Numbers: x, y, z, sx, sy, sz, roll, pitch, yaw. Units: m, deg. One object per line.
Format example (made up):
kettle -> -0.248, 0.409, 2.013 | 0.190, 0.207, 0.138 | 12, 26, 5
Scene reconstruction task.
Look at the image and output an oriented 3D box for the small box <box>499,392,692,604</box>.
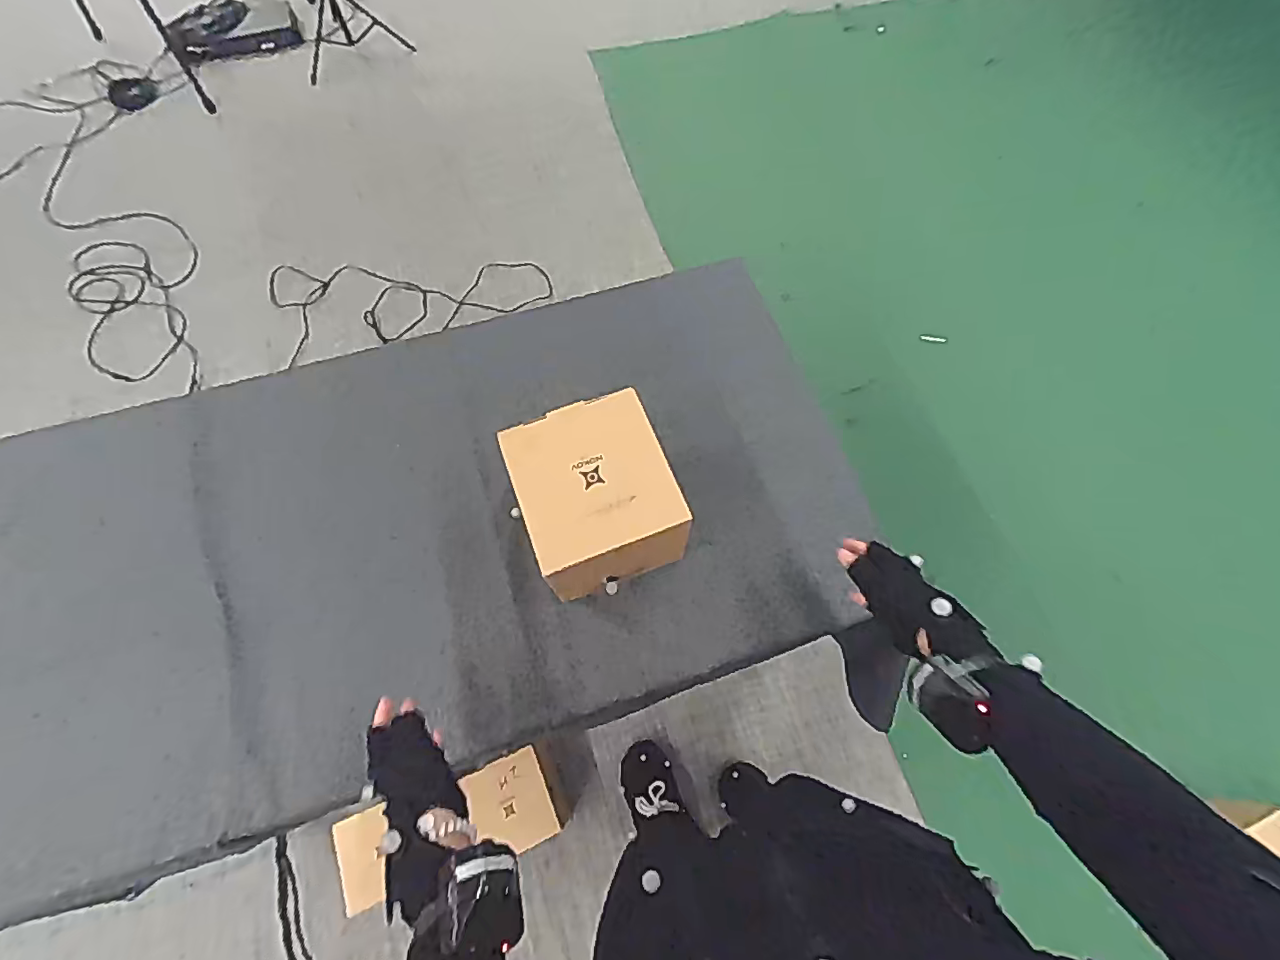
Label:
small box -> -0.052, 0.029, 0.647 | 0.168, 0.176, 0.179 | -20, 70, -7
